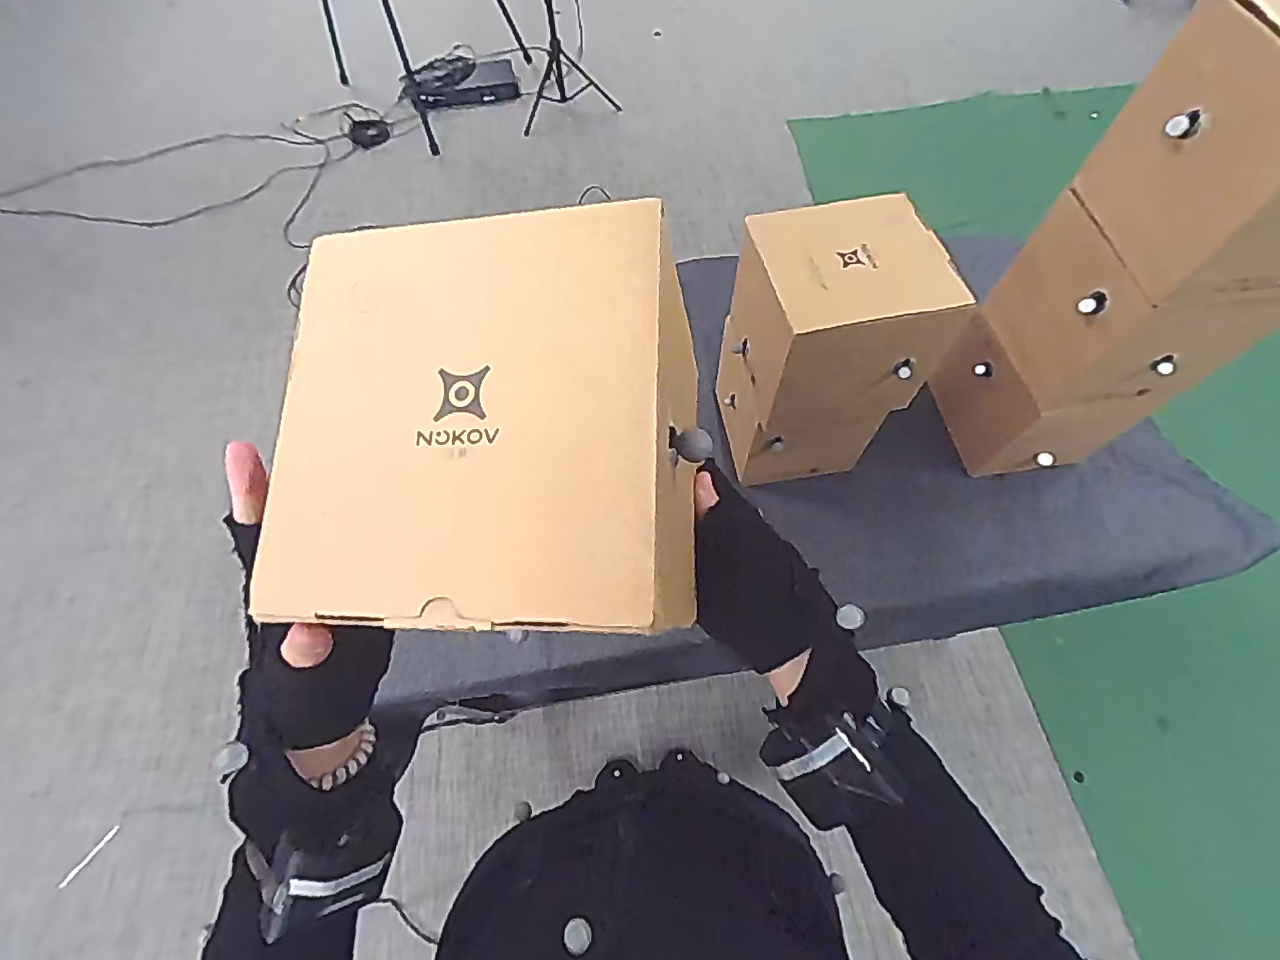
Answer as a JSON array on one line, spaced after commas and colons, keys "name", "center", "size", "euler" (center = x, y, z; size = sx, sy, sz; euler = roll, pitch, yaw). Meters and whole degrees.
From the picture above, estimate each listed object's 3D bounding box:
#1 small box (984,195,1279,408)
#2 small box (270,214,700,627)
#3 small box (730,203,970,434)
[{"name": "small box", "center": [0.531, -0.193, 0.600], "size": [0.168, 0.176, 0.179], "euler": [-6, 62, -1]}, {"name": "small box", "center": [-0.055, -0.012, 0.302], "size": [0.168, 0.176, 0.179], "euler": [-1, 77, 9]}, {"name": "small box", "center": [0.211, -0.172, 0.602], "size": [0.179, 0.176, 0.168], "euler": [-10, 62, -3]}]
